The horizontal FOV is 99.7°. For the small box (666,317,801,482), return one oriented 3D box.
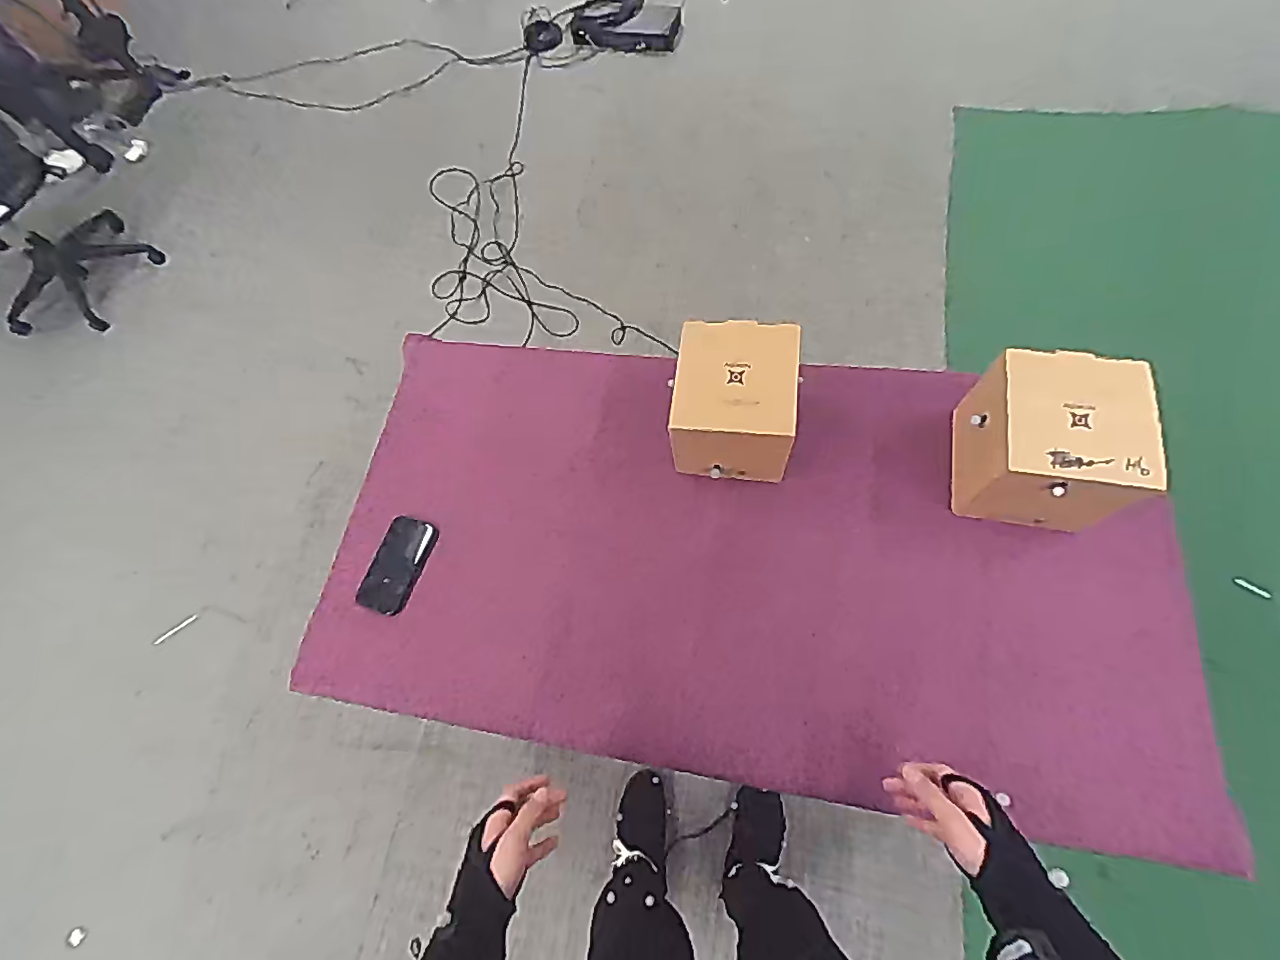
[{"bbox_3d":[0.136,-0.113,0.795,0.168,0.176,0.179,5,69,11],"label":"small box"}]

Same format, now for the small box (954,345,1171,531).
[{"bbox_3d":[0.534,-0.050,0.714,0.168,0.176,0.179,8,69,12],"label":"small box"}]
